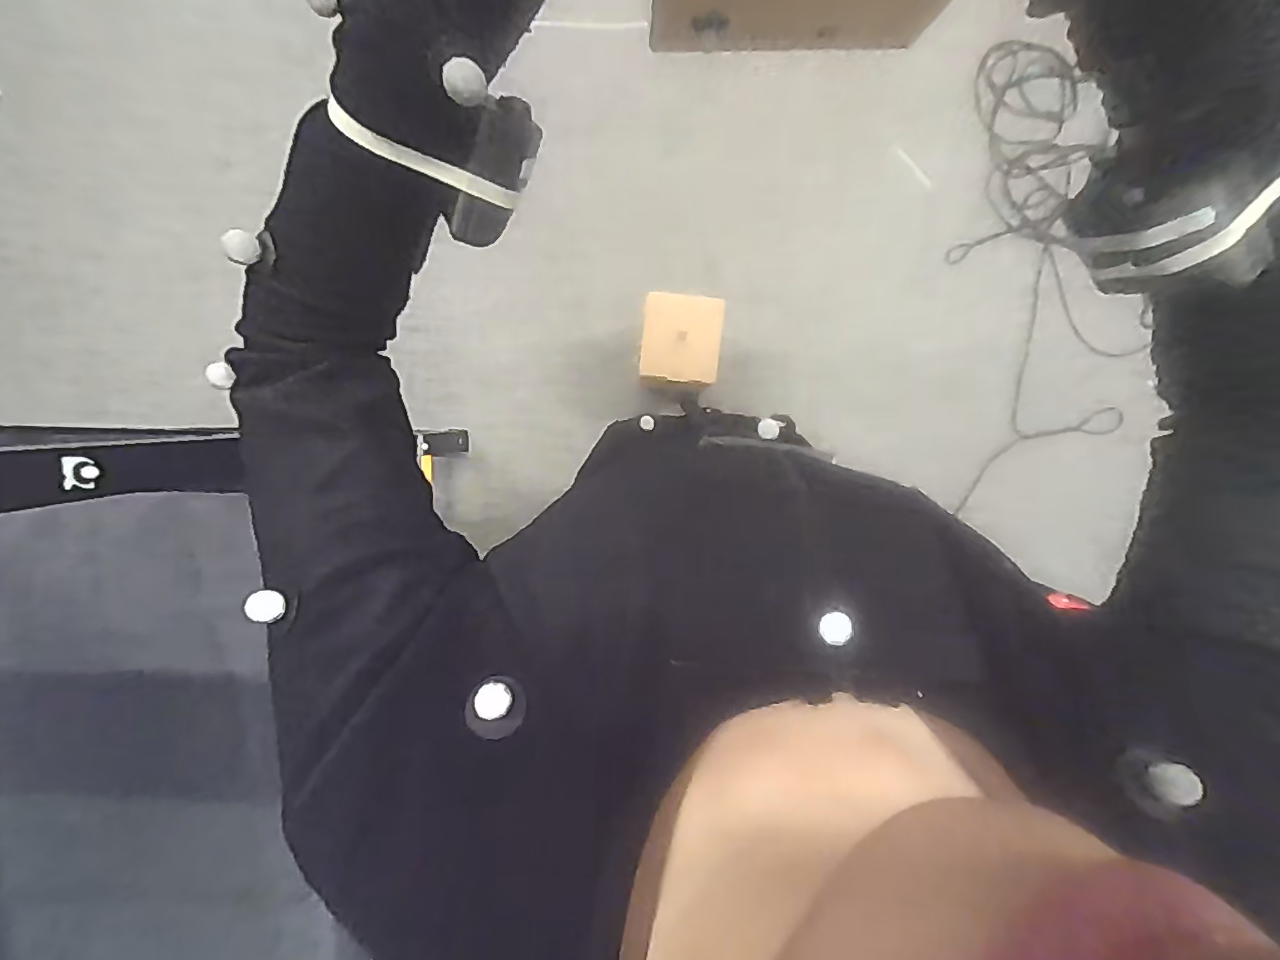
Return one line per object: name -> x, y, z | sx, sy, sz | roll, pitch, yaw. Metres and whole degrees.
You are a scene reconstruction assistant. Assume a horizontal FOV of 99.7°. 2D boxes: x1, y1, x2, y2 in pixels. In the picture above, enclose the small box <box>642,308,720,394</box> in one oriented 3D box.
small box -> 0.099, -0.320, 1.367 | 0.168, 0.176, 0.179 | 8, 97, 1
